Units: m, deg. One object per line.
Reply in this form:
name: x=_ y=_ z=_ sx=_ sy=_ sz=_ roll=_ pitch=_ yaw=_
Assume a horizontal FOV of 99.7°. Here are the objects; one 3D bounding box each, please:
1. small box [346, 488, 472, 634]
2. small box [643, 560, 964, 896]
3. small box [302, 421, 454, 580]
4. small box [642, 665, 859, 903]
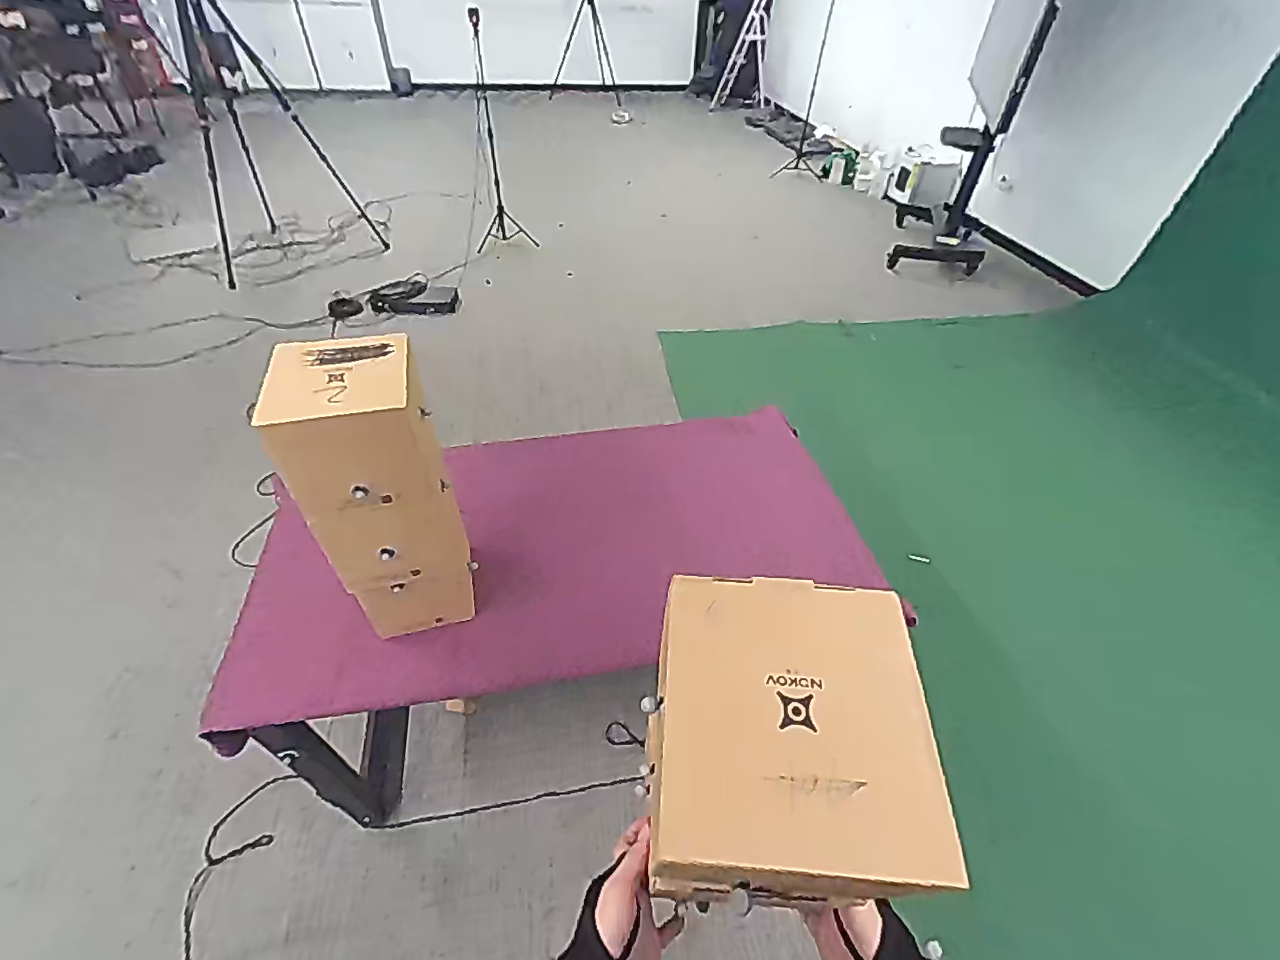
small box: x=-0.400 y=0.142 z=0.957 sx=0.168 sy=0.176 sz=0.179 roll=-10 pitch=46 yaw=-13
small box: x=0.092 y=0.182 z=0.394 sx=0.168 sy=0.176 sz=0.179 roll=5 pitch=51 yaw=3
small box: x=-0.386 y=0.037 z=0.830 sx=0.168 sy=0.176 sz=0.179 roll=-8 pitch=46 yaw=-13
small box: x=0.090 y=0.288 z=0.518 sx=0.168 sy=0.176 sz=0.179 roll=4 pitch=50 yaw=1
